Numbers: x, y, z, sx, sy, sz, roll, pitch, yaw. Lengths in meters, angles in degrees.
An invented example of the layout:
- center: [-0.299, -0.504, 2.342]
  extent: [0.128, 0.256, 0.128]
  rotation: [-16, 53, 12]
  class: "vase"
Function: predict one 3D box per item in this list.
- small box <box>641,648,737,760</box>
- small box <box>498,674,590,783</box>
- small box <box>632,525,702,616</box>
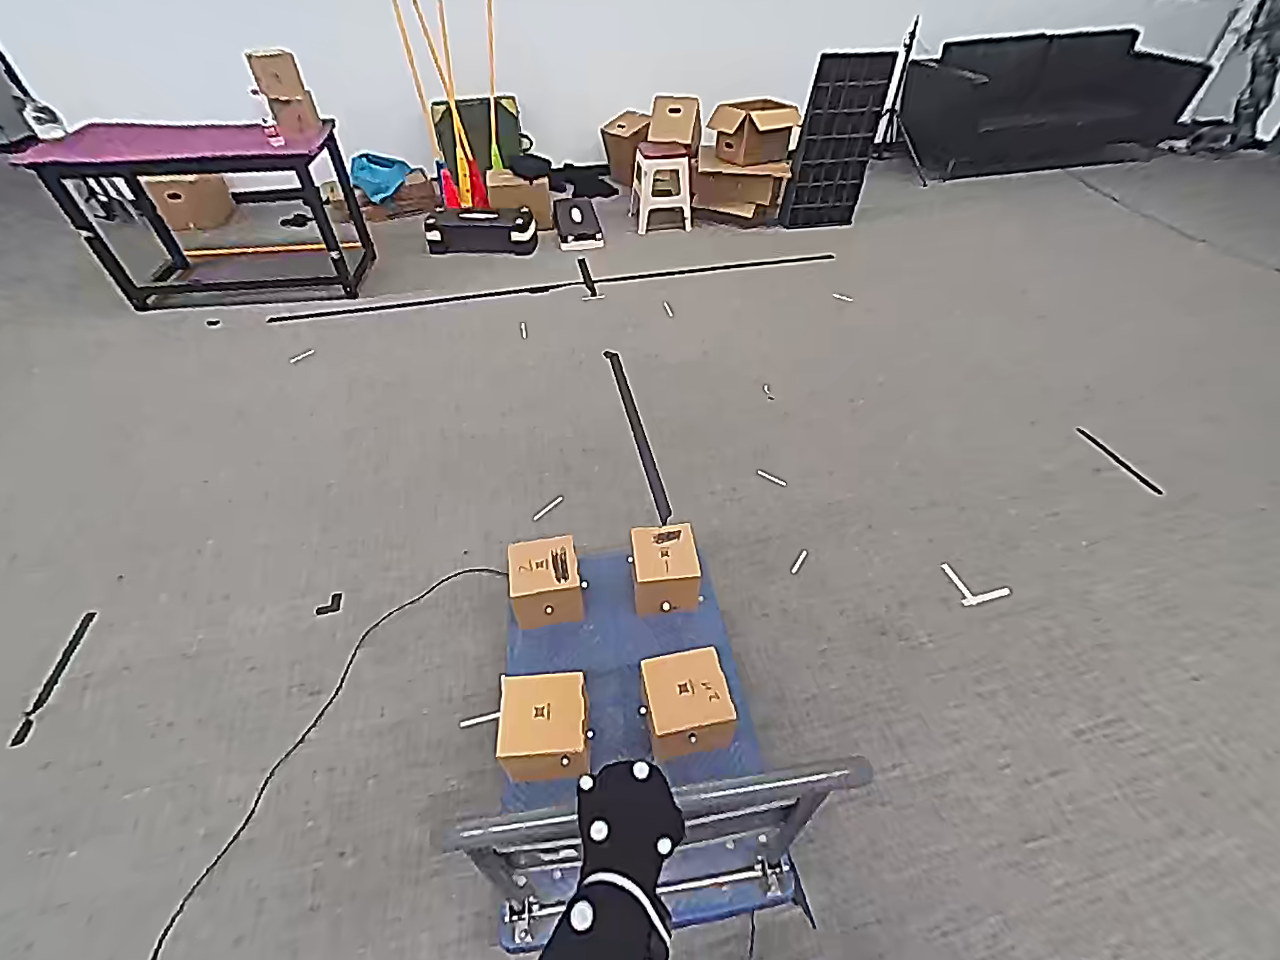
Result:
- center: [0.104, 0.507, 1.216]
  extent: [0.179, 0.176, 0.168]
  rotation: [-8, 46, -8]
  class: "small box"
- center: [-0.201, 0.545, 1.182]
  extent: [0.179, 0.176, 0.168]
  rotation: [-3, 45, -5]
  class: "small box"
- center: [0.067, 0.246, 1.472]
  extent: [0.168, 0.176, 0.179]
  rotation: [-5, 47, -5]
  class: "small box"
